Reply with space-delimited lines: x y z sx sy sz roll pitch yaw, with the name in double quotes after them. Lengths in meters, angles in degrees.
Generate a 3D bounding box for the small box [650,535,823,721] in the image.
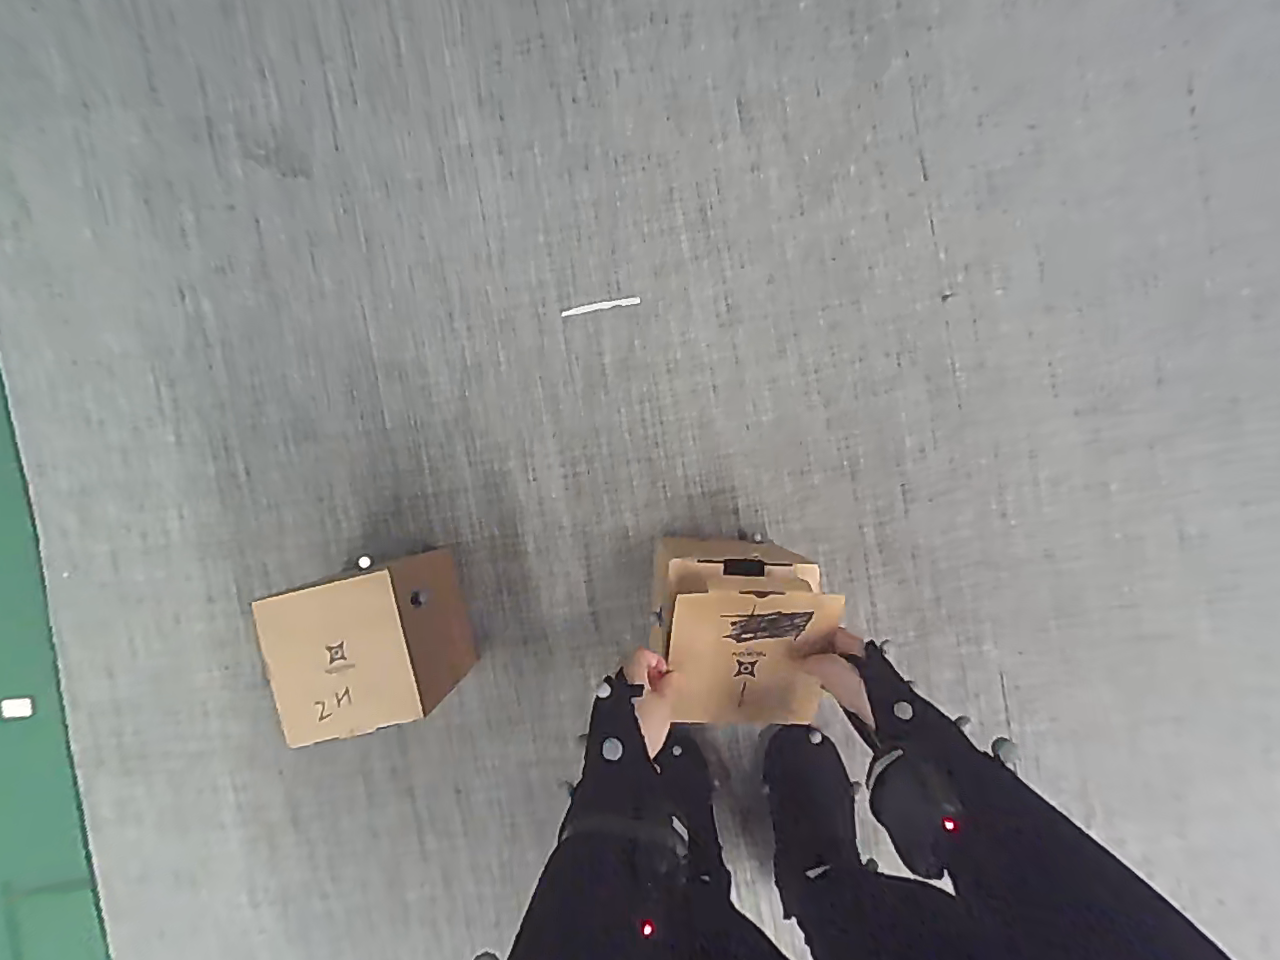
0.103 0.164 0.650 0.168 0.176 0.179 4 92 -3 "small box"

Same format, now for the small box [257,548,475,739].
-0.329 0.189 0.682 0.168 0.176 0.179 -13 91 3 "small box"
